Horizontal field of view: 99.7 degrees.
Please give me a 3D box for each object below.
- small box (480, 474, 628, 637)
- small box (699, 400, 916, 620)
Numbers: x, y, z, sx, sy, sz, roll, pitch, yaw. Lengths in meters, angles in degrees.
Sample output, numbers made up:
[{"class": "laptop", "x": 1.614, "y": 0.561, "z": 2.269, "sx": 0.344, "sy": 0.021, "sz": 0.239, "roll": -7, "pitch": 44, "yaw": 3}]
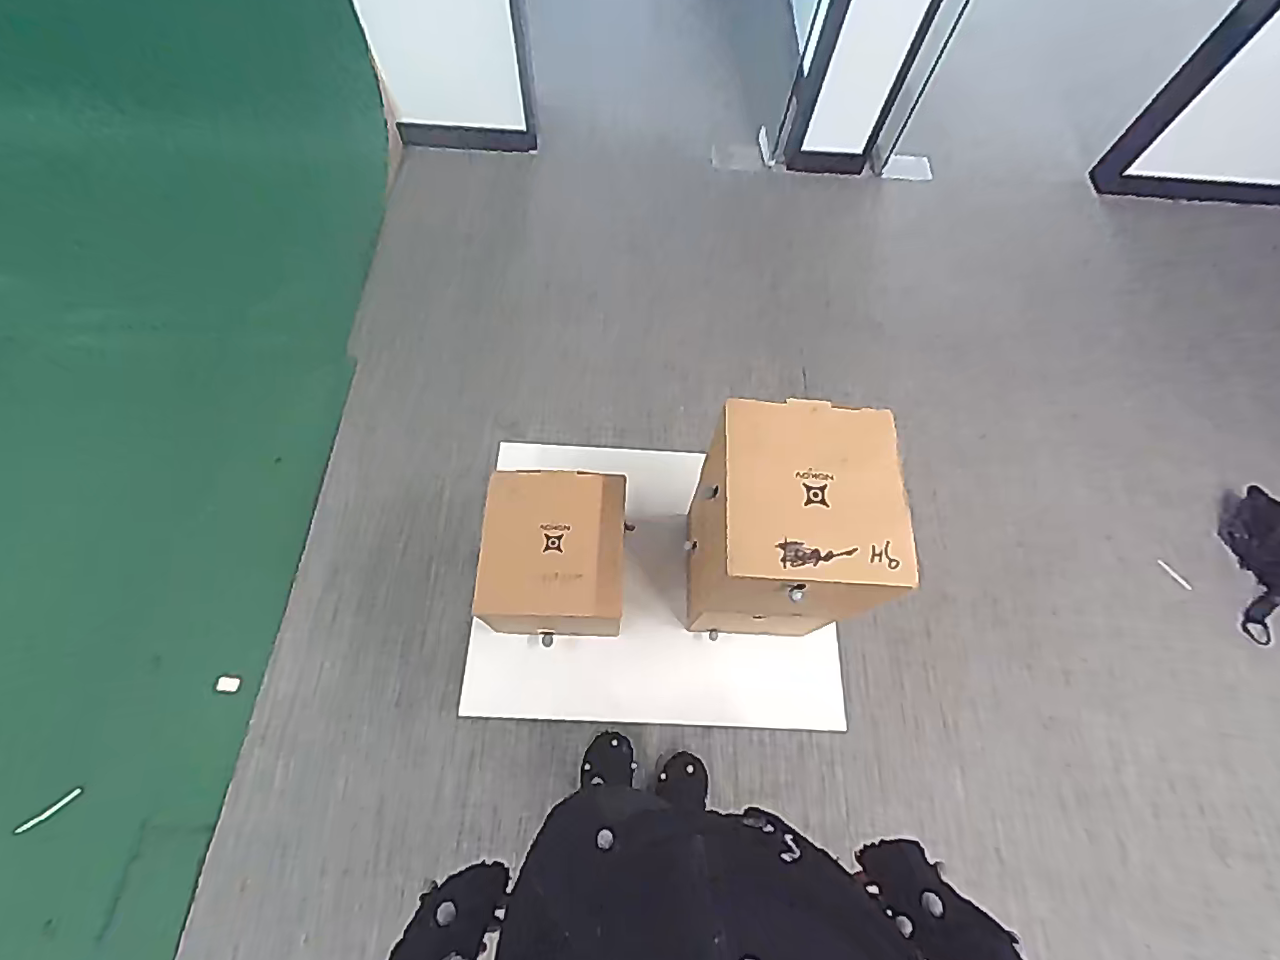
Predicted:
[{"class": "small box", "x": -0.099, "y": 0.104, "z": 0.704, "sx": 0.168, "sy": 0.176, "sz": 0.179, "roll": 0, "pitch": 68, "yaw": -2}, {"class": "small box", "x": 0.153, "y": 0.039, "z": 0.562, "sx": 0.168, "sy": 0.176, "sz": 0.179, "roll": 3, "pitch": 66, "yaw": -1}]
